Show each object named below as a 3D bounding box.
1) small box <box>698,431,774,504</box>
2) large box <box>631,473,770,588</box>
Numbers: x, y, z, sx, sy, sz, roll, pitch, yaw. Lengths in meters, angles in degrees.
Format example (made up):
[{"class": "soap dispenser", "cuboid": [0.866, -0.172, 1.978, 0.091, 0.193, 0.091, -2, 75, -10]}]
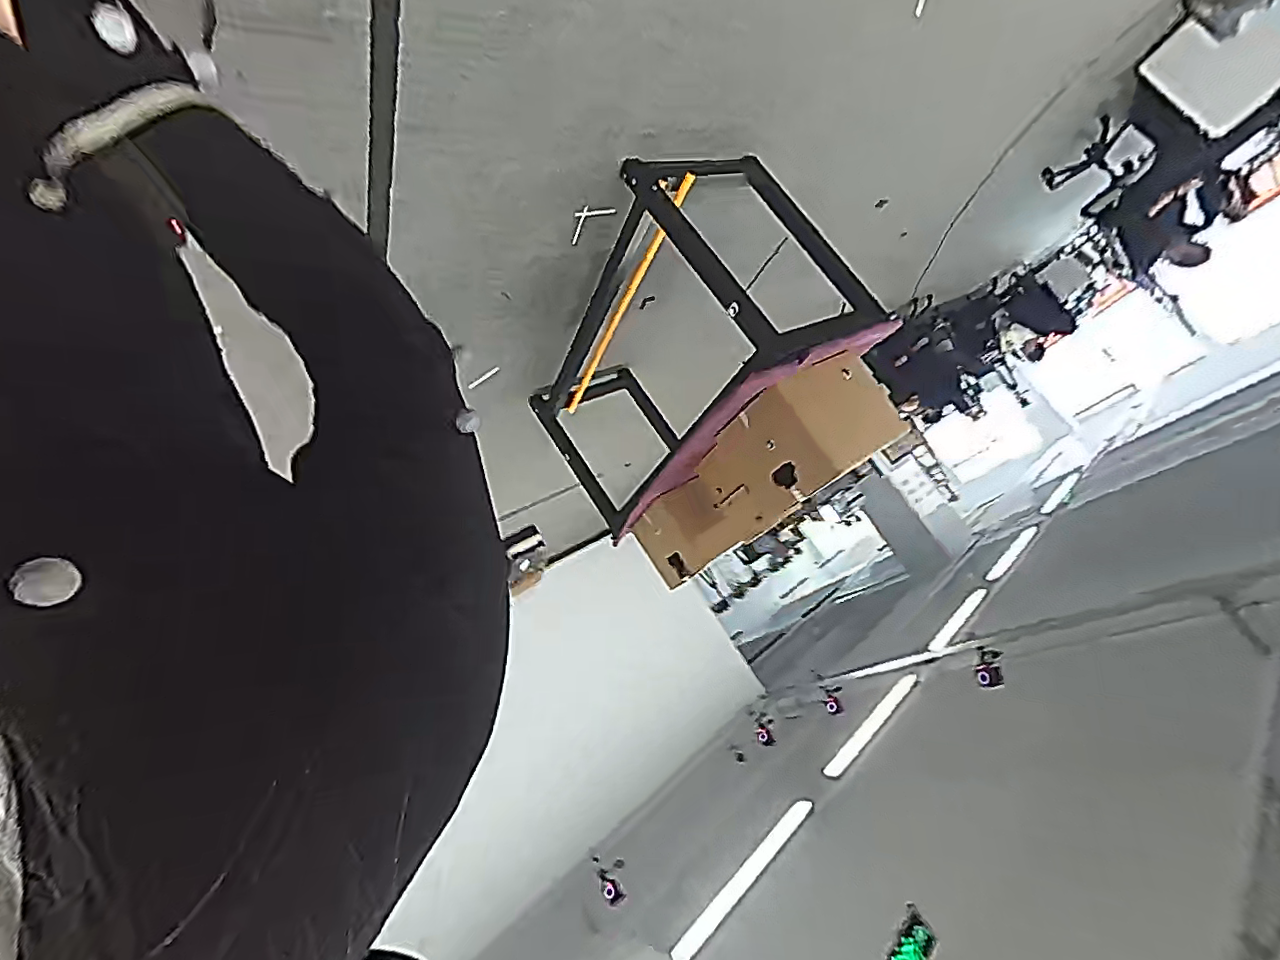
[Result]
[{"class": "small box", "cuboid": [0.332, -0.045, 1.920, 0.168, 0.176, 0.179, -26, 165, -34]}, {"class": "large box", "cuboid": [0.238, 0.175, 2.203, 0.408, 0.320, 0.320, -27, 166, -35]}]
